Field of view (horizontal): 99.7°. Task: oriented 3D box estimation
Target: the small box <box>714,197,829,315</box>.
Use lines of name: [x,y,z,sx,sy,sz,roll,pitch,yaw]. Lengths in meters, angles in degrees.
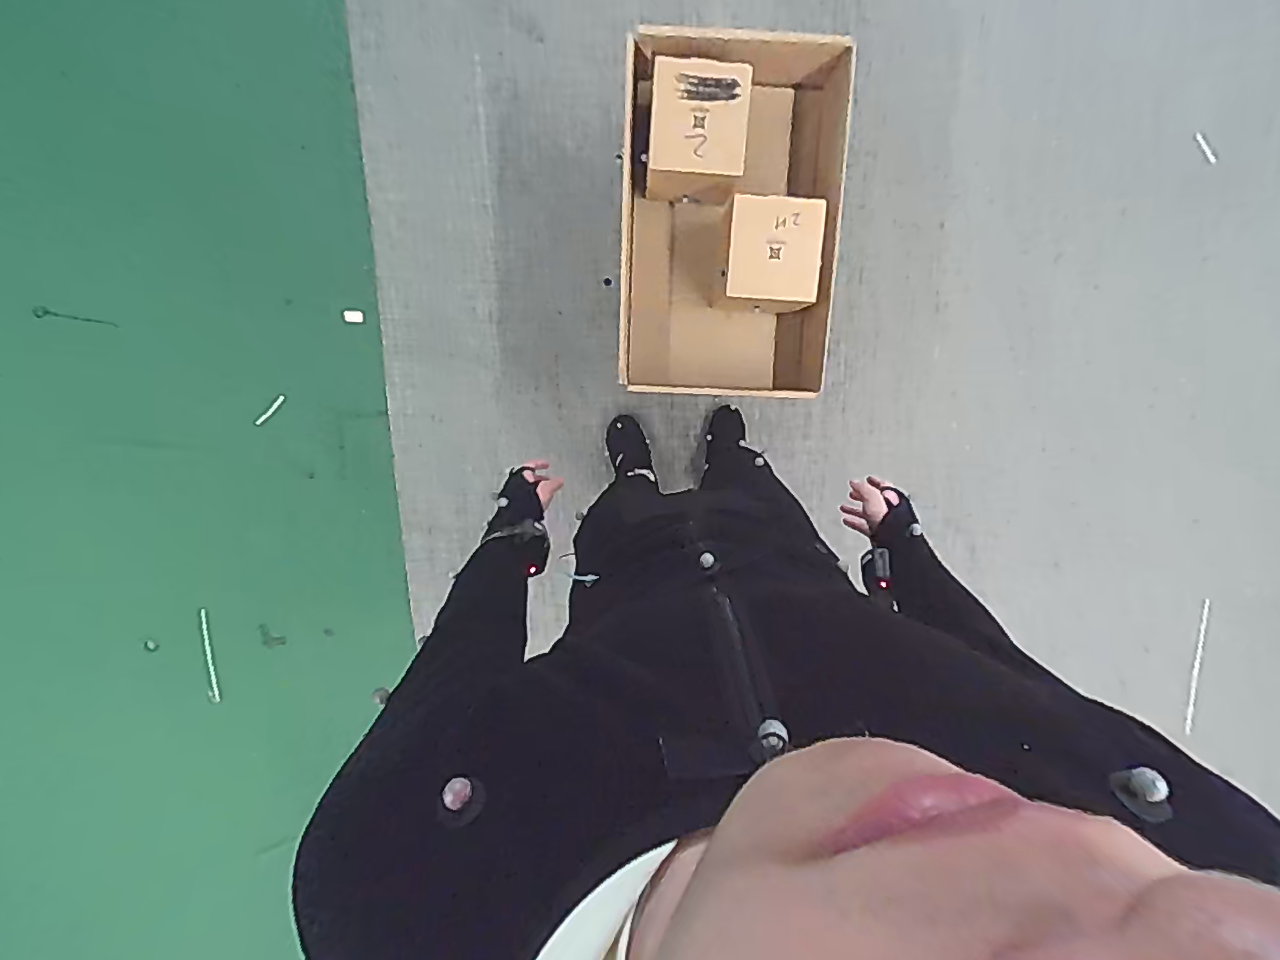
small box: [0.240,-0.414,1.029,0.168,0.176,0.179,4,101,-3]
